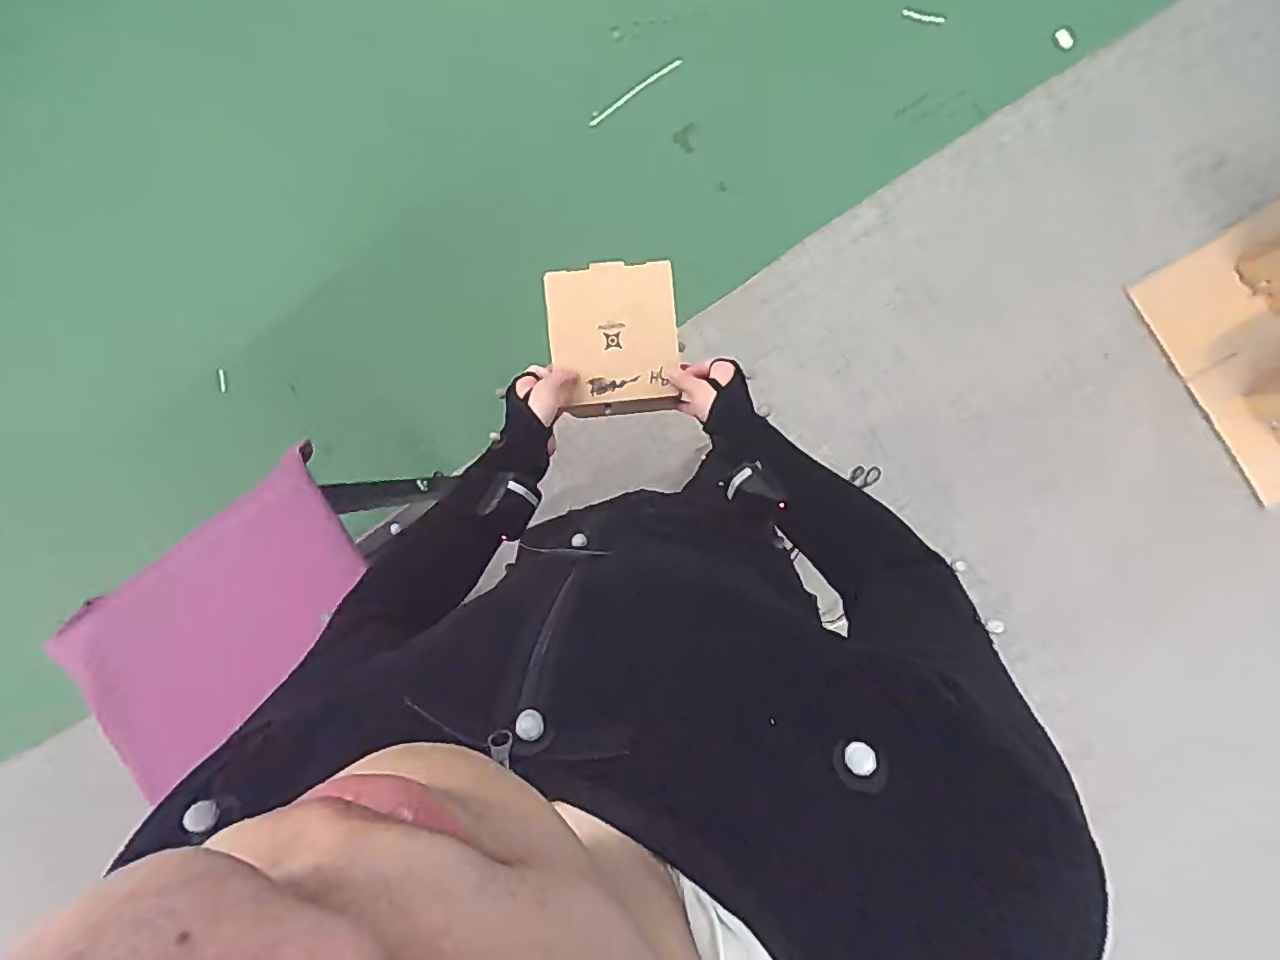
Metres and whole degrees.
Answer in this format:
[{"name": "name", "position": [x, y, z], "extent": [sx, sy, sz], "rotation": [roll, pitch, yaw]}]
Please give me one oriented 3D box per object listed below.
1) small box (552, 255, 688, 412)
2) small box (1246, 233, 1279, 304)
[{"name": "small box", "position": [-0.024, -0.195, 0.762], "extent": [0.168, 0.176, 0.179], "rotation": [-4, 93, 3]}, {"name": "small box", "position": [1.662, -0.556, 1.304], "extent": [0.179, 0.176, 0.168], "rotation": [-39, 87, 7]}]
